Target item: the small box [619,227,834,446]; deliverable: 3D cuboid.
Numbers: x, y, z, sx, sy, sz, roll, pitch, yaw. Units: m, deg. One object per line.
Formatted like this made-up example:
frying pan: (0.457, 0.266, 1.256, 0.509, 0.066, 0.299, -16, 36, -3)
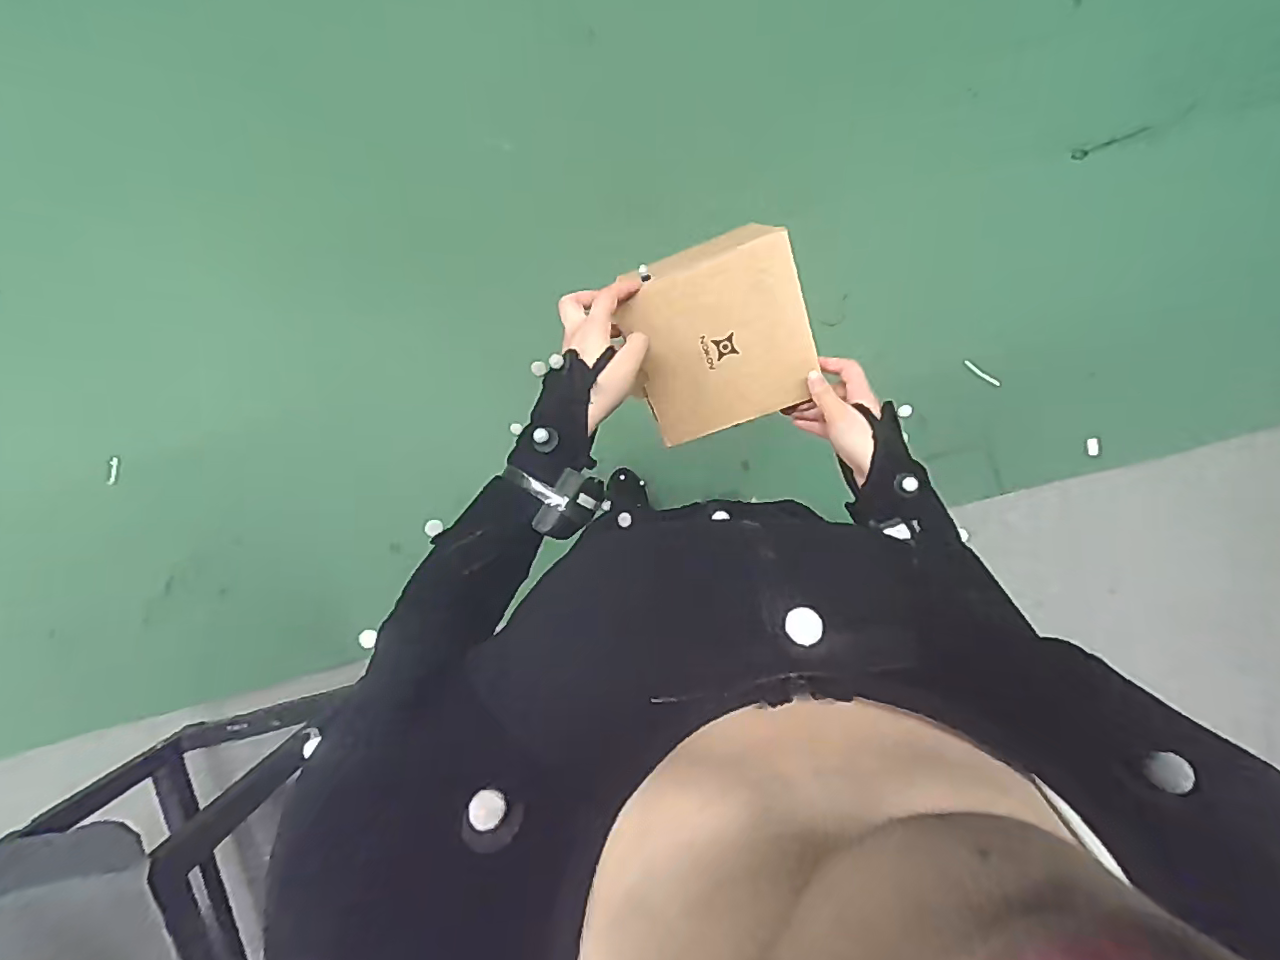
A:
small box: (0.086, -0.164, 0.590, 0.179, 0.176, 0.168, -19, 114, 9)
